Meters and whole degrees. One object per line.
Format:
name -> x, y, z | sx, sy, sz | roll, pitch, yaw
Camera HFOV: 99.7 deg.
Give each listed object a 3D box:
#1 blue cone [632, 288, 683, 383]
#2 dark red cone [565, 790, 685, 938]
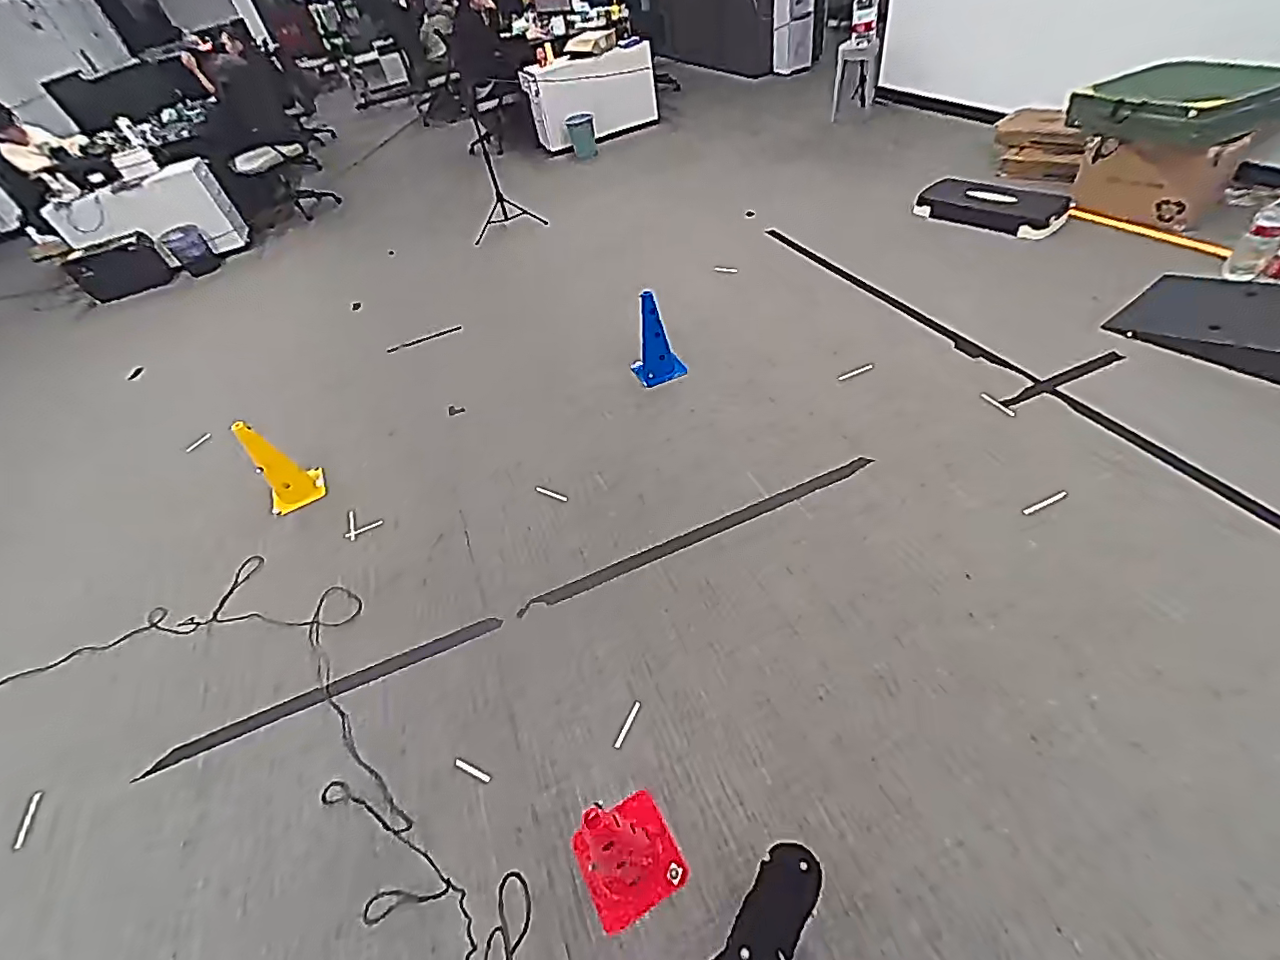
blue cone -> 0.047, -0.599, 2.213 | 0.193, 0.380, 0.192 | -22, 45, -8
dark red cone -> -0.062, 0.668, 0.996 | 0.202, 0.394, 0.201 | -28, 46, -14
